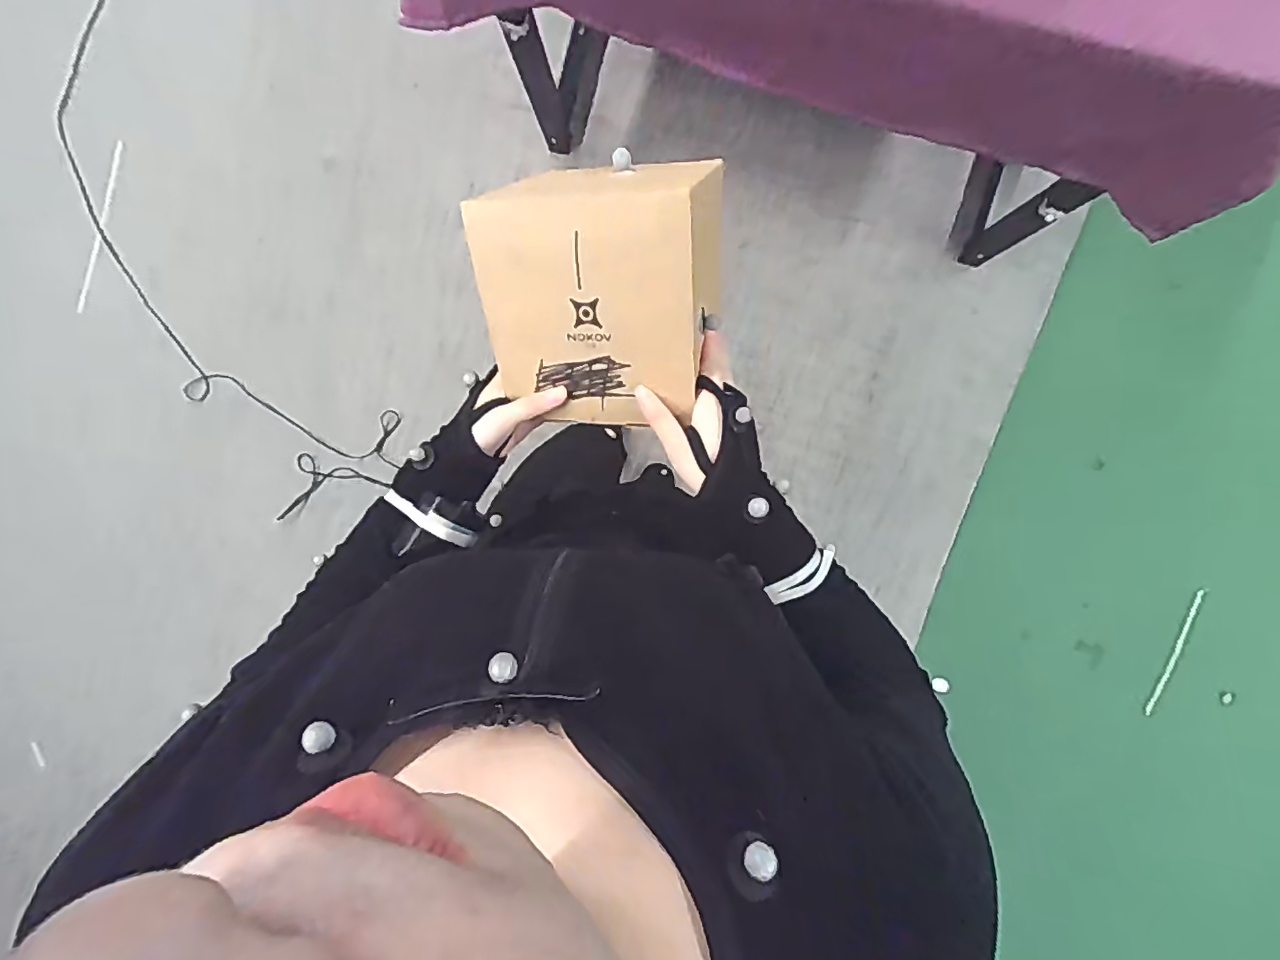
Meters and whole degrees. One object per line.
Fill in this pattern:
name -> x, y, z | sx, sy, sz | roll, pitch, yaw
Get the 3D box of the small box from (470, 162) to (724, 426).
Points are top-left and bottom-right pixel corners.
small box -> -0.018, -0.167, 0.475 | 0.168, 0.176, 0.179 | 5, 126, 13
